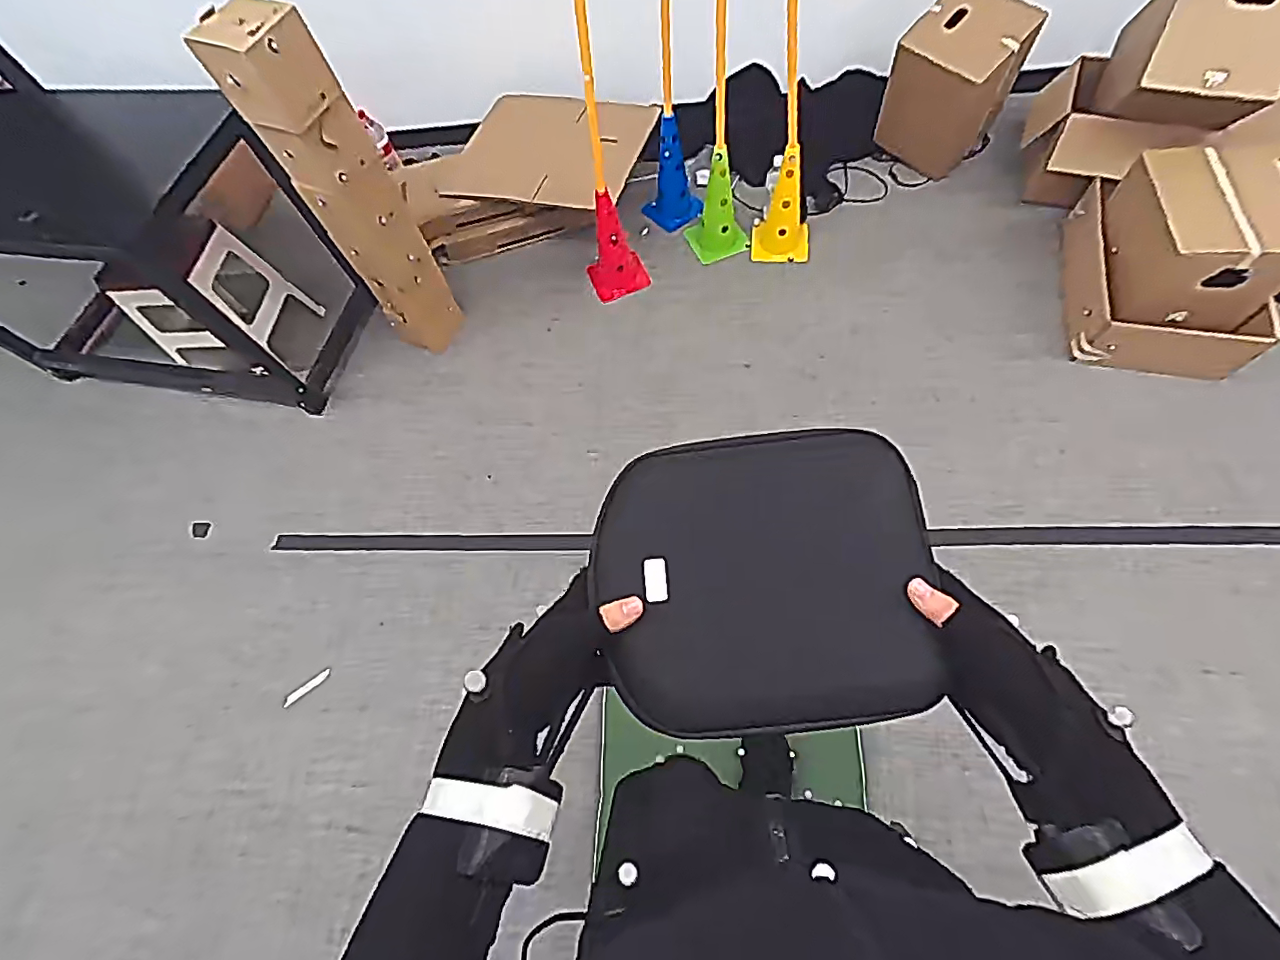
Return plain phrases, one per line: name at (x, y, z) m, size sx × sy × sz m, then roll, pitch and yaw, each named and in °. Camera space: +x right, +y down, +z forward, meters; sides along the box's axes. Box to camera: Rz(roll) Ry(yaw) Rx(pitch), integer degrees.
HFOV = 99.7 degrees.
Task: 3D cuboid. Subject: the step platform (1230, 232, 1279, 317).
step platform at (2.207, -0.727, 1.616) m, size 0.684 × 0.204 × 0.286 m, roll -27°, pitch 64°, yaw -6°
